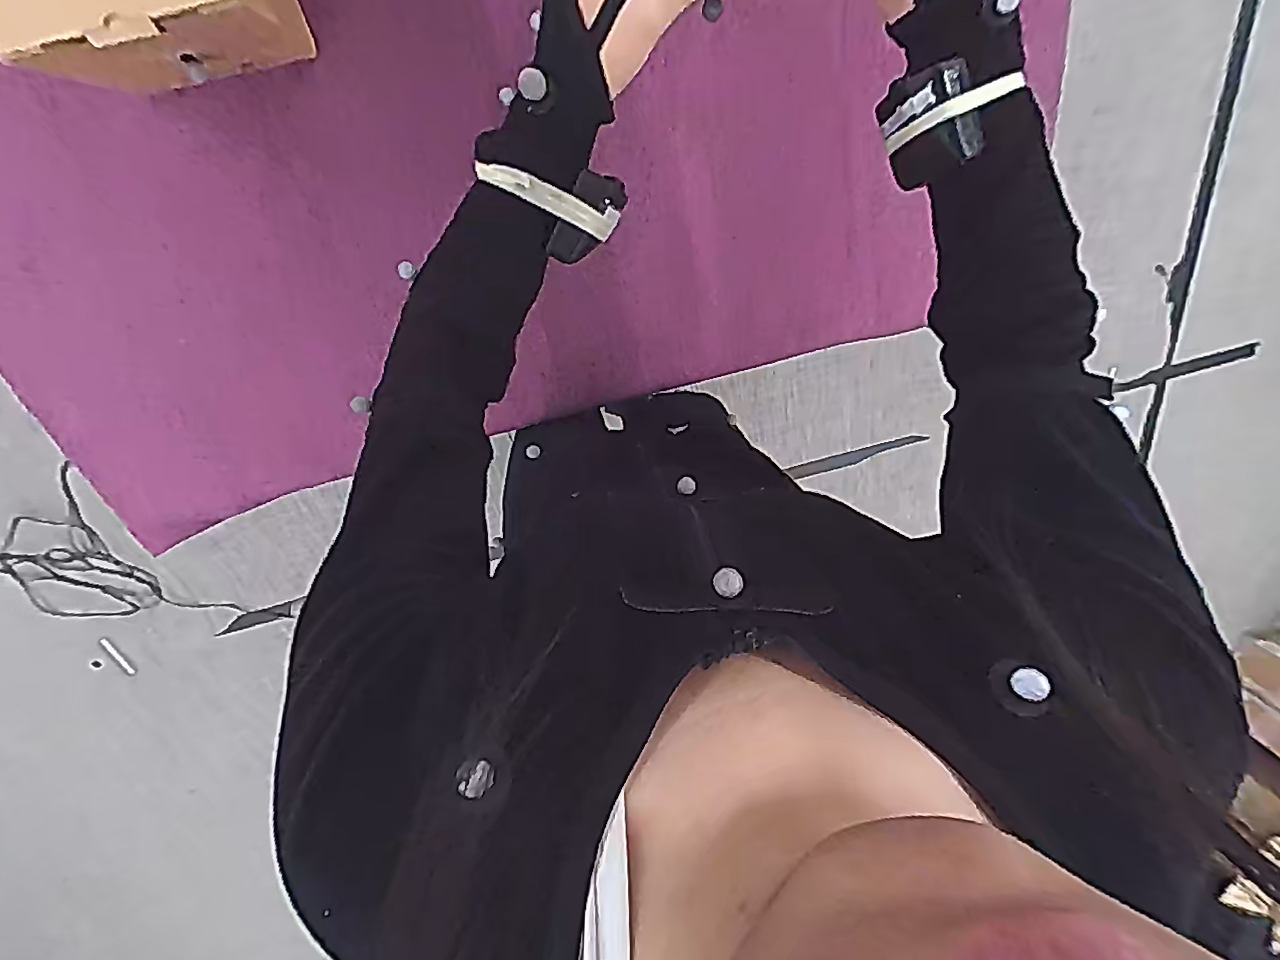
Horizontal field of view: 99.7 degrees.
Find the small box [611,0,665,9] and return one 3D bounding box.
[{"bbox_3d":[0.050,-0.411,0.318,0.168,0.176,0.179,-14,128,-5],"label":"small box"}]

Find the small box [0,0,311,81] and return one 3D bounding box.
[{"bbox_3d":[-0.378,-0.411,0.388,0.168,0.176,0.179,-16,121,-3],"label":"small box"}]
